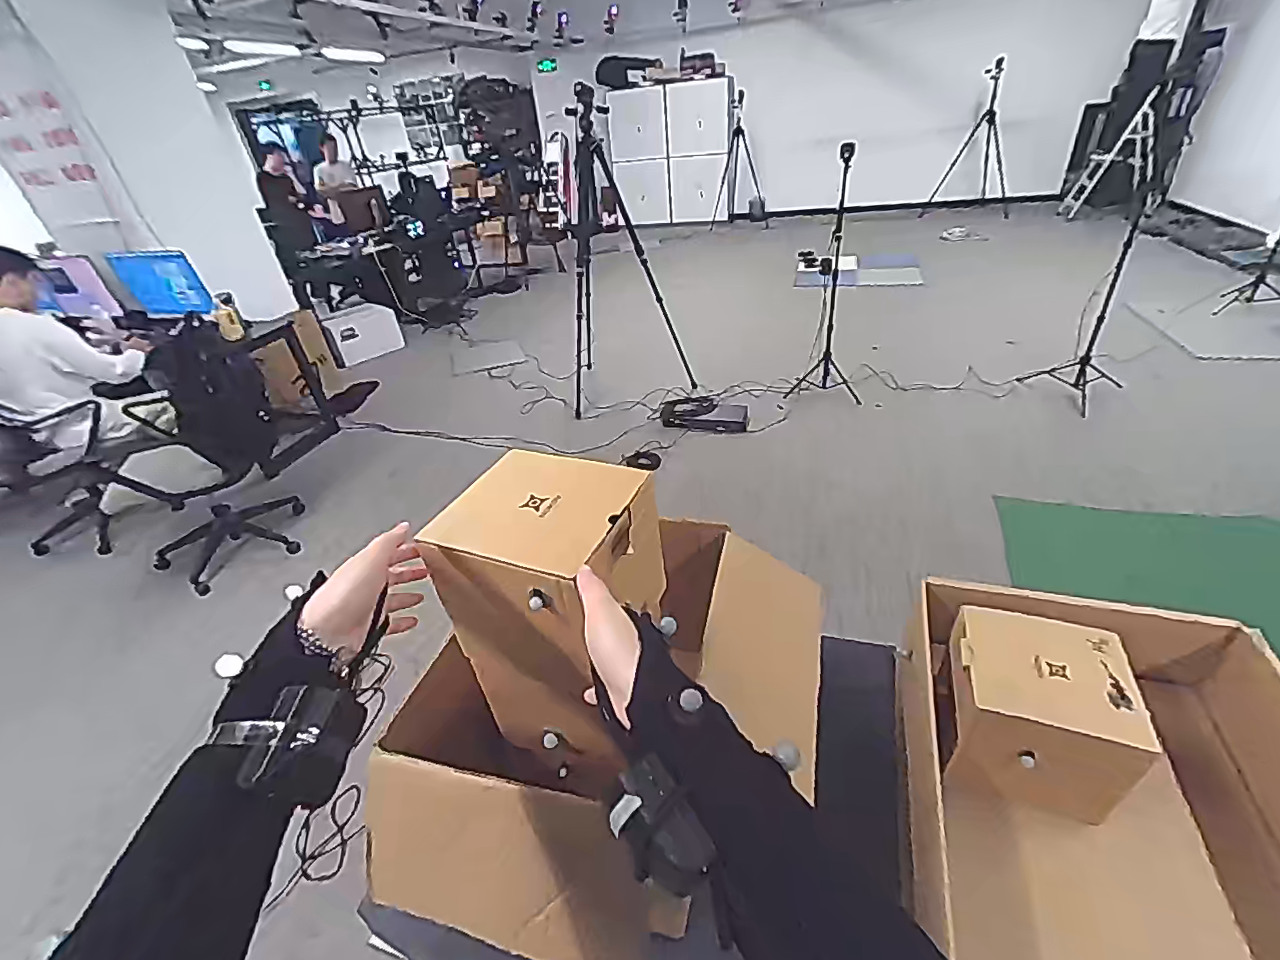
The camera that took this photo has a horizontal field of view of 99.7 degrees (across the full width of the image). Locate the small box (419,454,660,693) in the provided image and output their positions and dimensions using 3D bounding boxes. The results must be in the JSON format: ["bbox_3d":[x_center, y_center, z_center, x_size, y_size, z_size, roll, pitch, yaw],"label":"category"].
[{"bbox_3d":[-0.090,0.093,0.569,0.179,0.176,0.168,10,38,21],"label":"small box"}]
